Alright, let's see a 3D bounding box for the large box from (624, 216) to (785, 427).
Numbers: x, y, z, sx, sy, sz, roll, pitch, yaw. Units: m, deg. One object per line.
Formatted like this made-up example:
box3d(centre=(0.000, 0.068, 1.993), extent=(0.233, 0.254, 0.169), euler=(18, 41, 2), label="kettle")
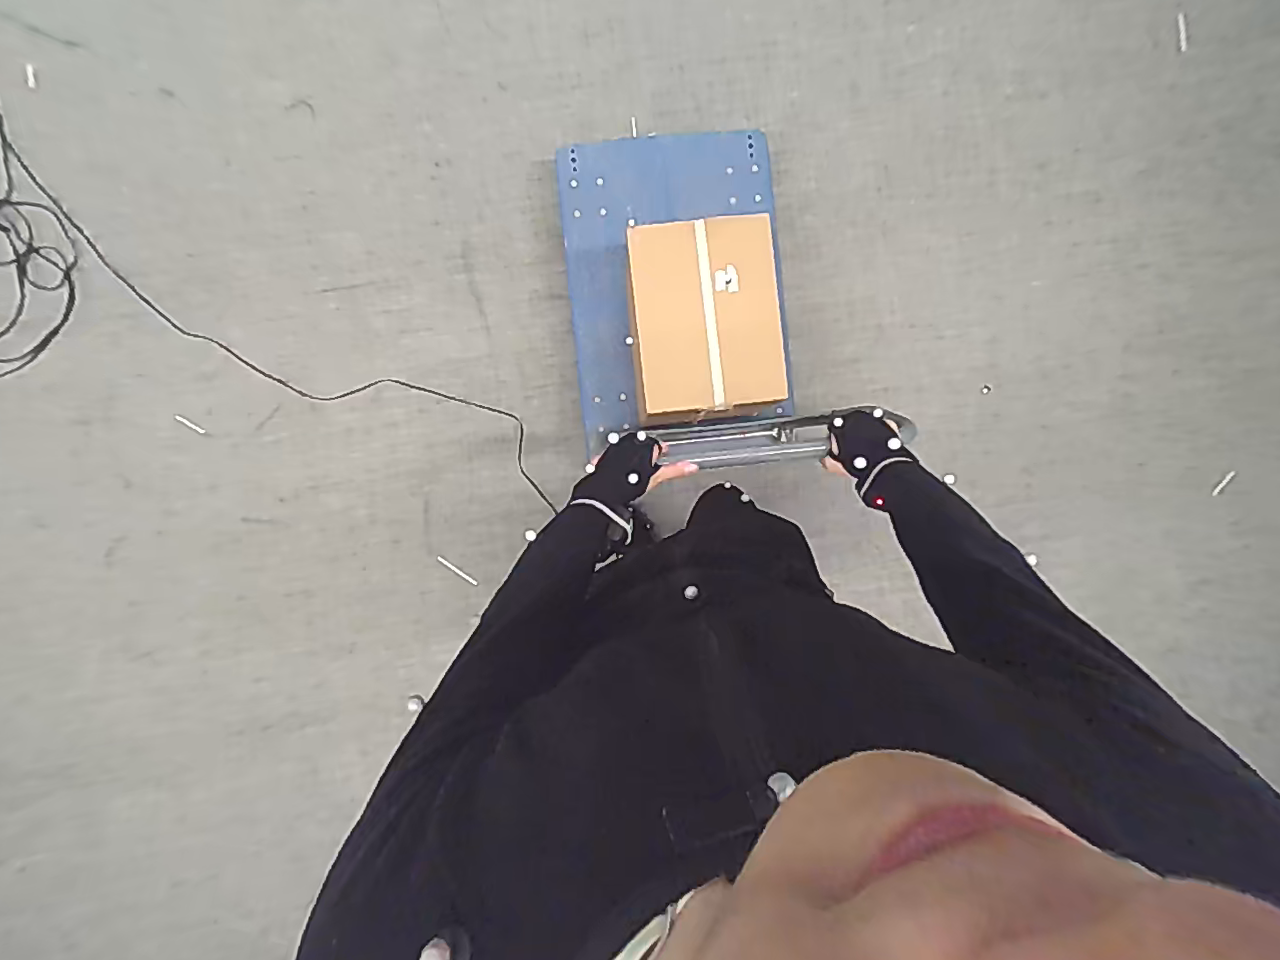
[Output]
box3d(centre=(0.137, -0.359, 1.320), extent=(0.320, 0.320, 0.408), euler=(-6, 90, -3), label="large box")
